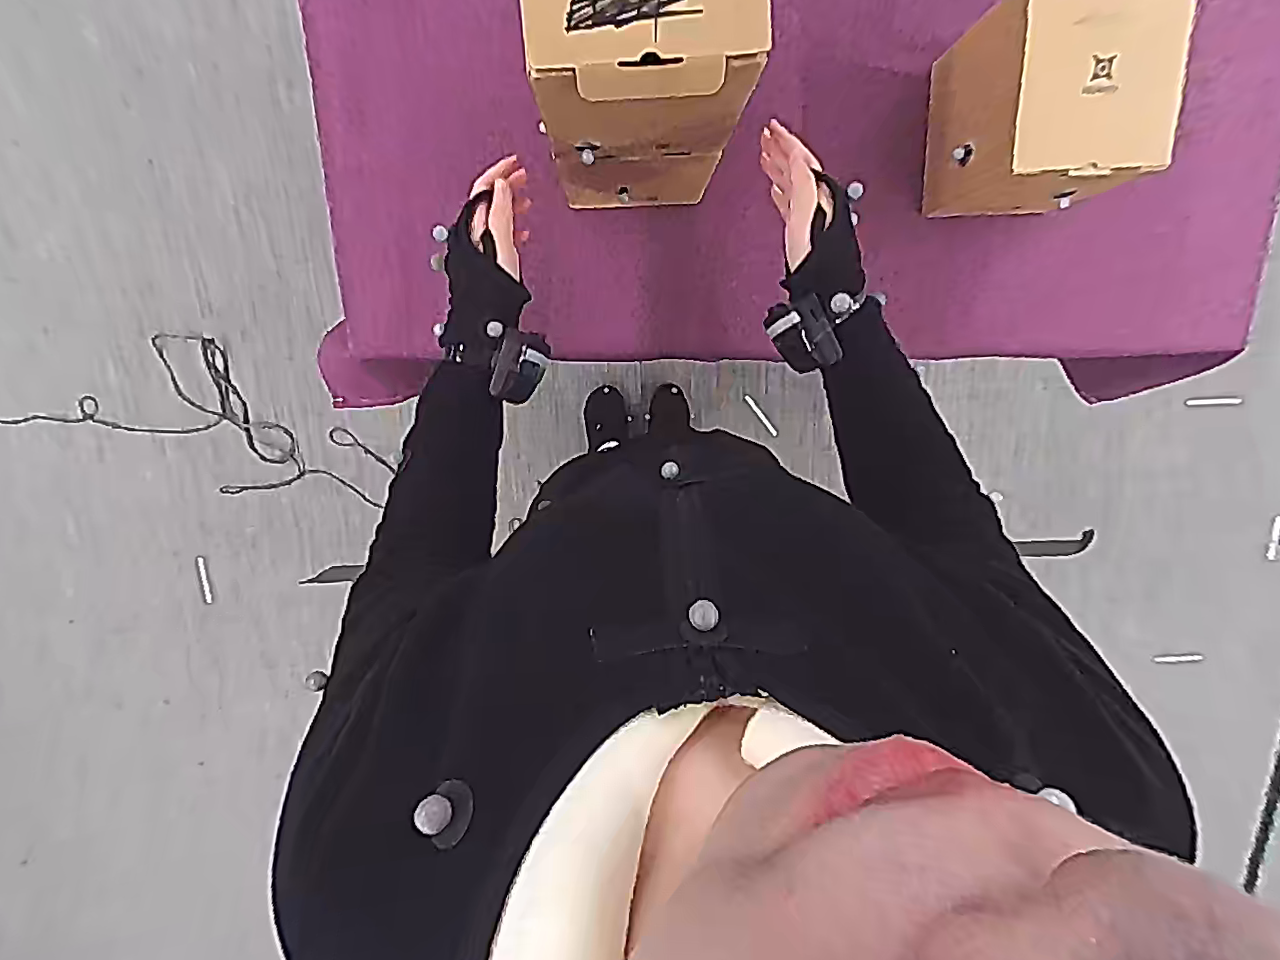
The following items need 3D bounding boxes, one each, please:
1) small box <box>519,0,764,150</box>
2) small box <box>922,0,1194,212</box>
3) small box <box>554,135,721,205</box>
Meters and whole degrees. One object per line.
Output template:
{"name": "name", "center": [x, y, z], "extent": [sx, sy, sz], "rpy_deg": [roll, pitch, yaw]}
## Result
{"name": "small box", "center": [-0.003, -0.381, 0.425], "extent": [0.168, 0.176, 0.179], "rpy_deg": [-4, 103, -2]}
{"name": "small box", "center": [0.440, -0.409, 0.602], "extent": [0.168, 0.176, 0.179], "rpy_deg": [-2, 102, -2]}
{"name": "small box", "center": [-0.009, -0.416, 0.586], "extent": [0.168, 0.176, 0.179], "rpy_deg": [-3, 104, -2]}
